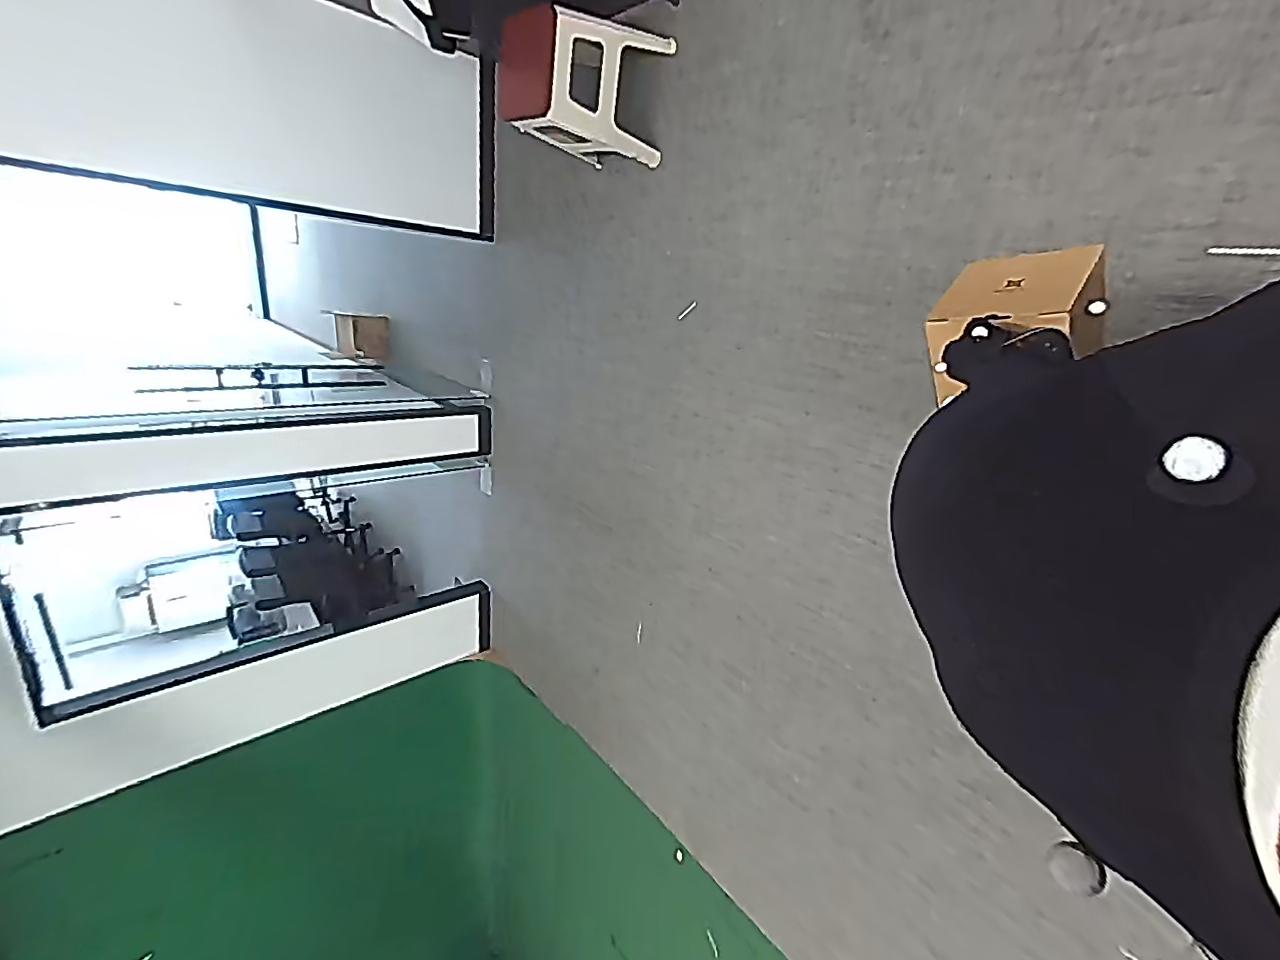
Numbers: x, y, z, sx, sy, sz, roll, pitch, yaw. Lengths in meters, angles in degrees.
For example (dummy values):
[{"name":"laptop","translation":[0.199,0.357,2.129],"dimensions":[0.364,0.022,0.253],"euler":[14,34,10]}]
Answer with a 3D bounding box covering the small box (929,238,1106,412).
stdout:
[{"name":"small box","translation":[0.547,-0.220,0.786],"dimensions":[0.168,0.179,0.176],"euler":[12,141,48]}]
